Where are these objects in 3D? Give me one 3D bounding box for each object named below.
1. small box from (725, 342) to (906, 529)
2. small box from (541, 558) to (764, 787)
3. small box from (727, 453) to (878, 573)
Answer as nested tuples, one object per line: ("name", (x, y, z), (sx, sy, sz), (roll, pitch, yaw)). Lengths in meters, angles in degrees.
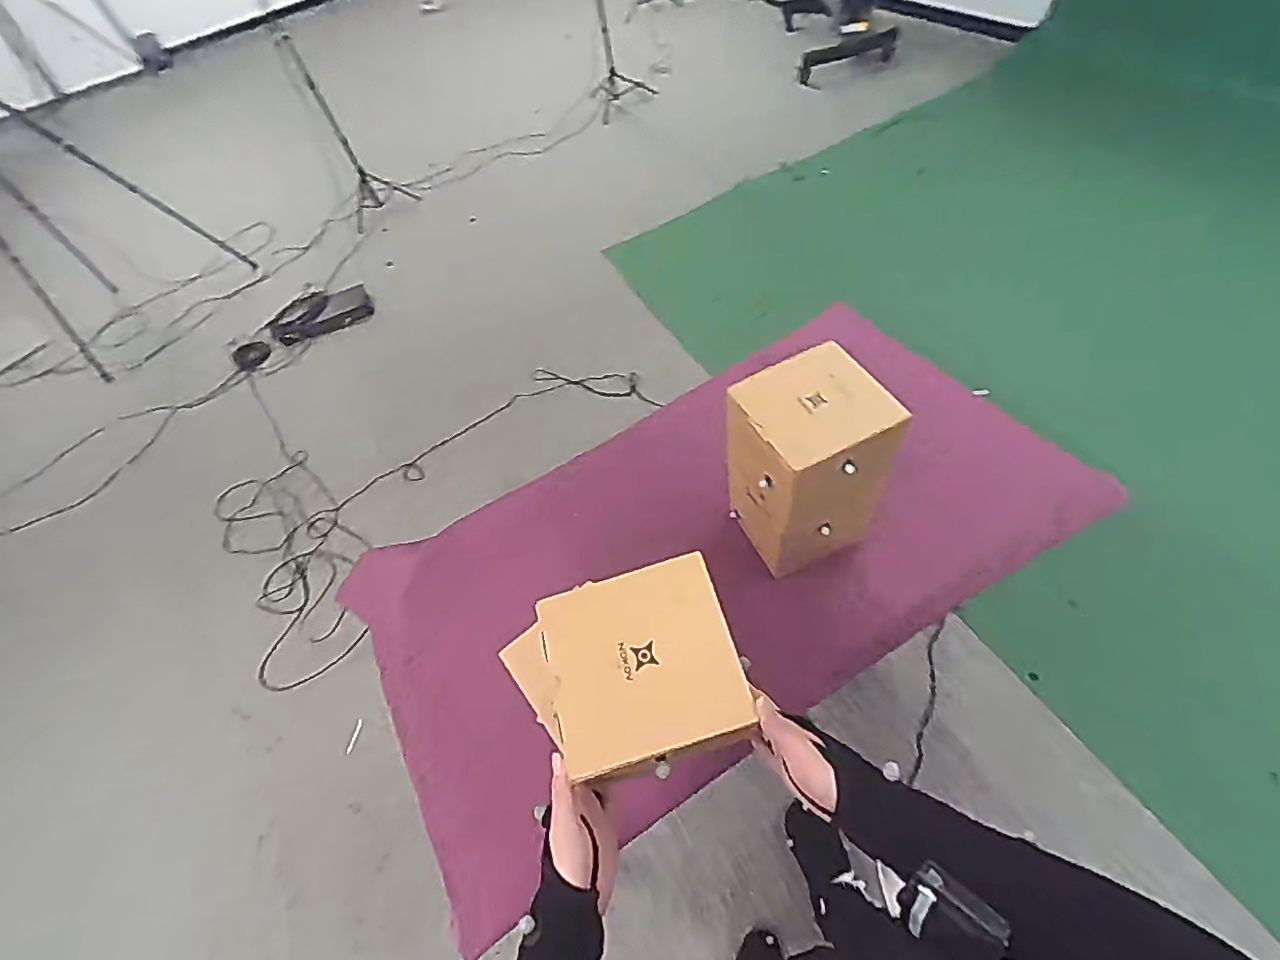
("small box", (0.239, -0.057, 0.775), (0.179, 0.176, 0.168), (-25, 56, -7))
("small box", (0.014, 0.204, 0.568), (0.179, 0.176, 0.168), (-18, 61, 0))
("small box", (0.263, 0.030, 0.911), (0.179, 0.176, 0.168), (-24, 56, -7))
